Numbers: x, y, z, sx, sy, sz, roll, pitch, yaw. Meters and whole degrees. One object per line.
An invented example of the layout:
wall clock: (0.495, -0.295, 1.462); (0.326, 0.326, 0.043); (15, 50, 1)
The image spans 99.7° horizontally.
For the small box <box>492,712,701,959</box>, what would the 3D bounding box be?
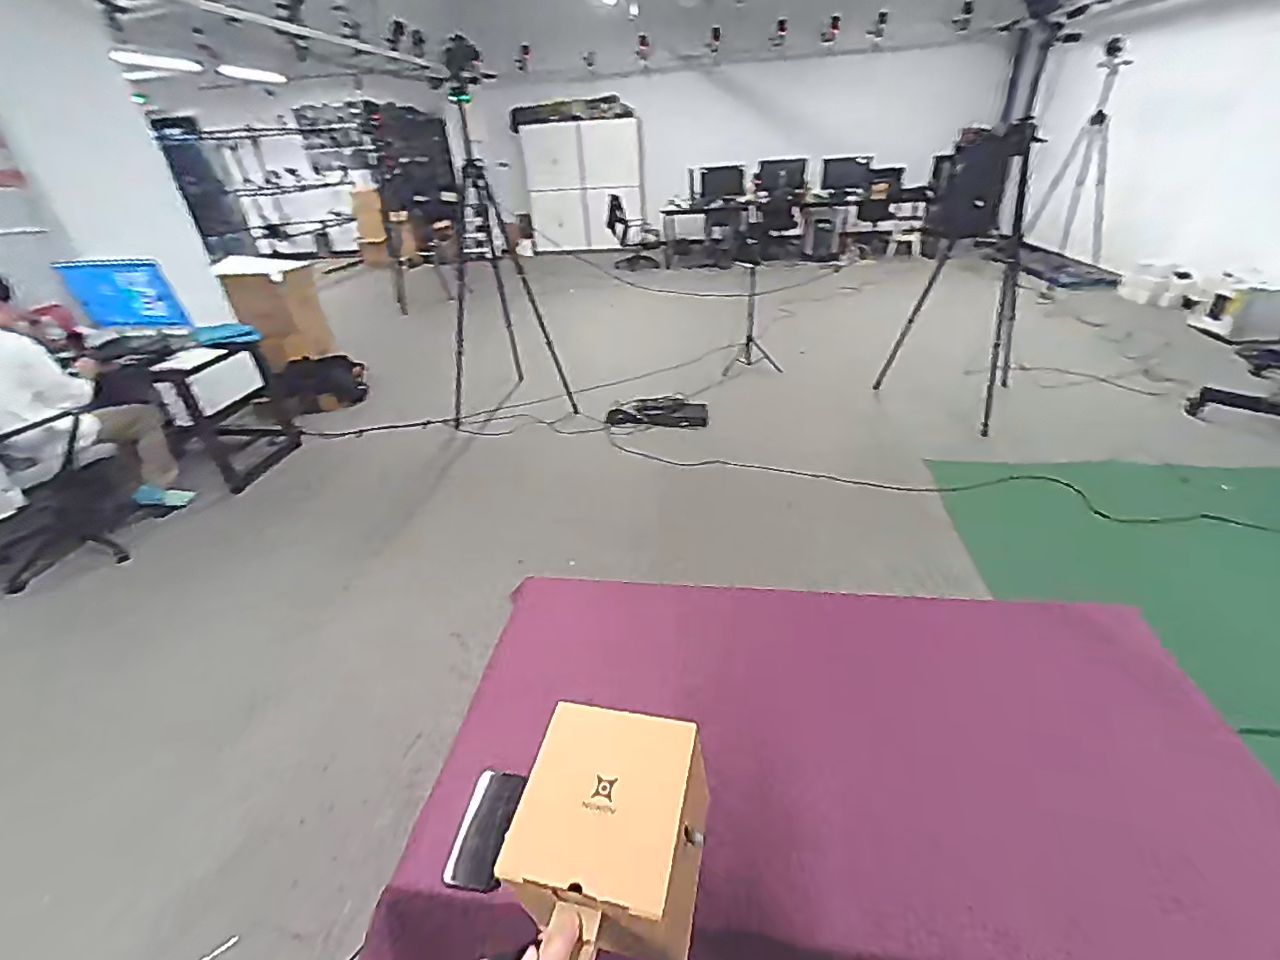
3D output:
small box: (-0.029, 0.388, 0.587); (0.168, 0.176, 0.179); (2, 39, 16)
